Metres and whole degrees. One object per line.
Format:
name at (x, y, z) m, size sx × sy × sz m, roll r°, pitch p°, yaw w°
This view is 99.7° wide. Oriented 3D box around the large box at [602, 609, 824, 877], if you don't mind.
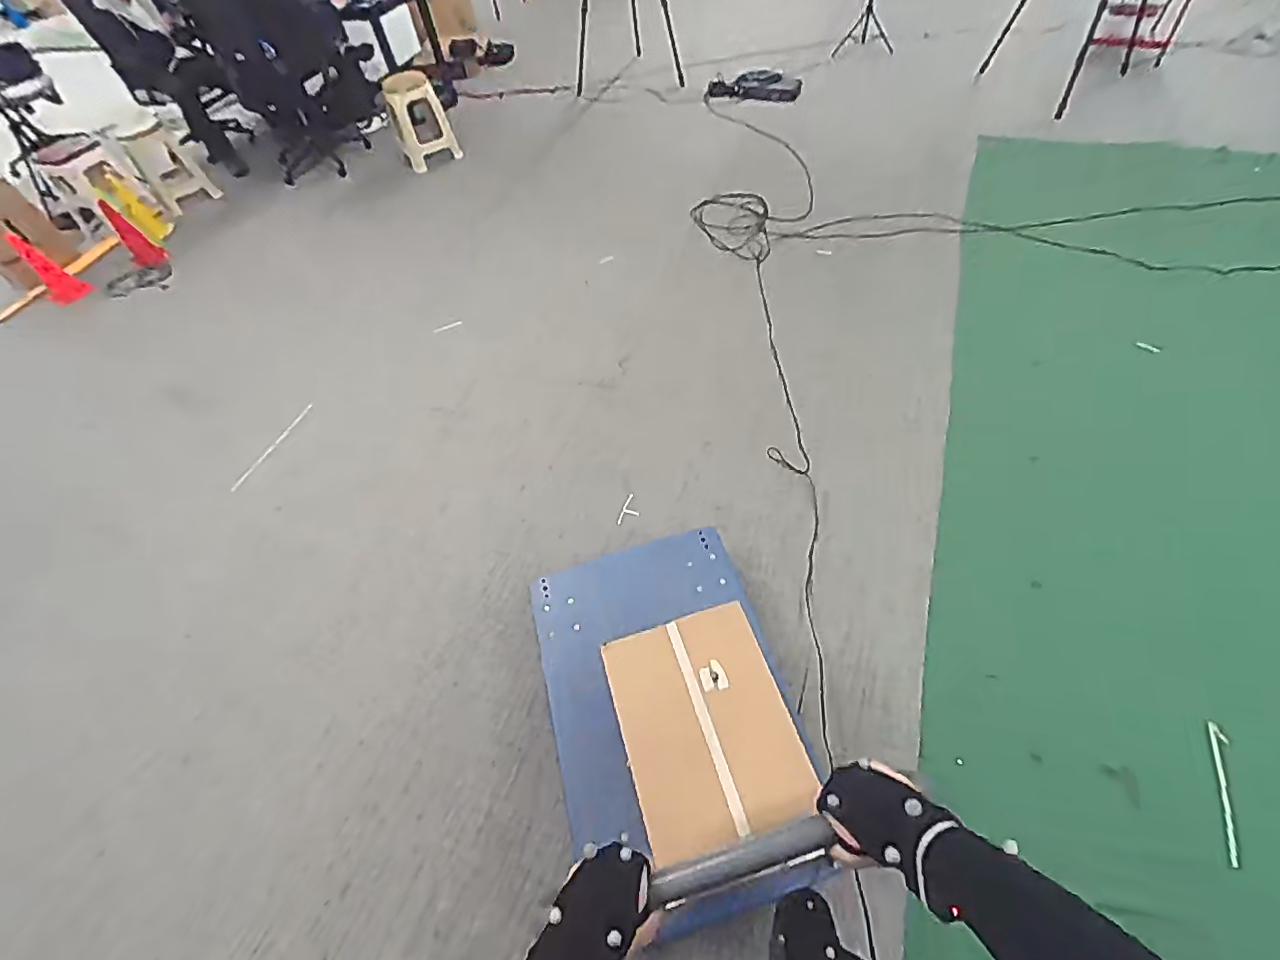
large box at (0.138, 0.560, 1.160) m, size 0.320 × 0.320 × 0.408 m, roll -17°, pitch 52°, yaw -6°
